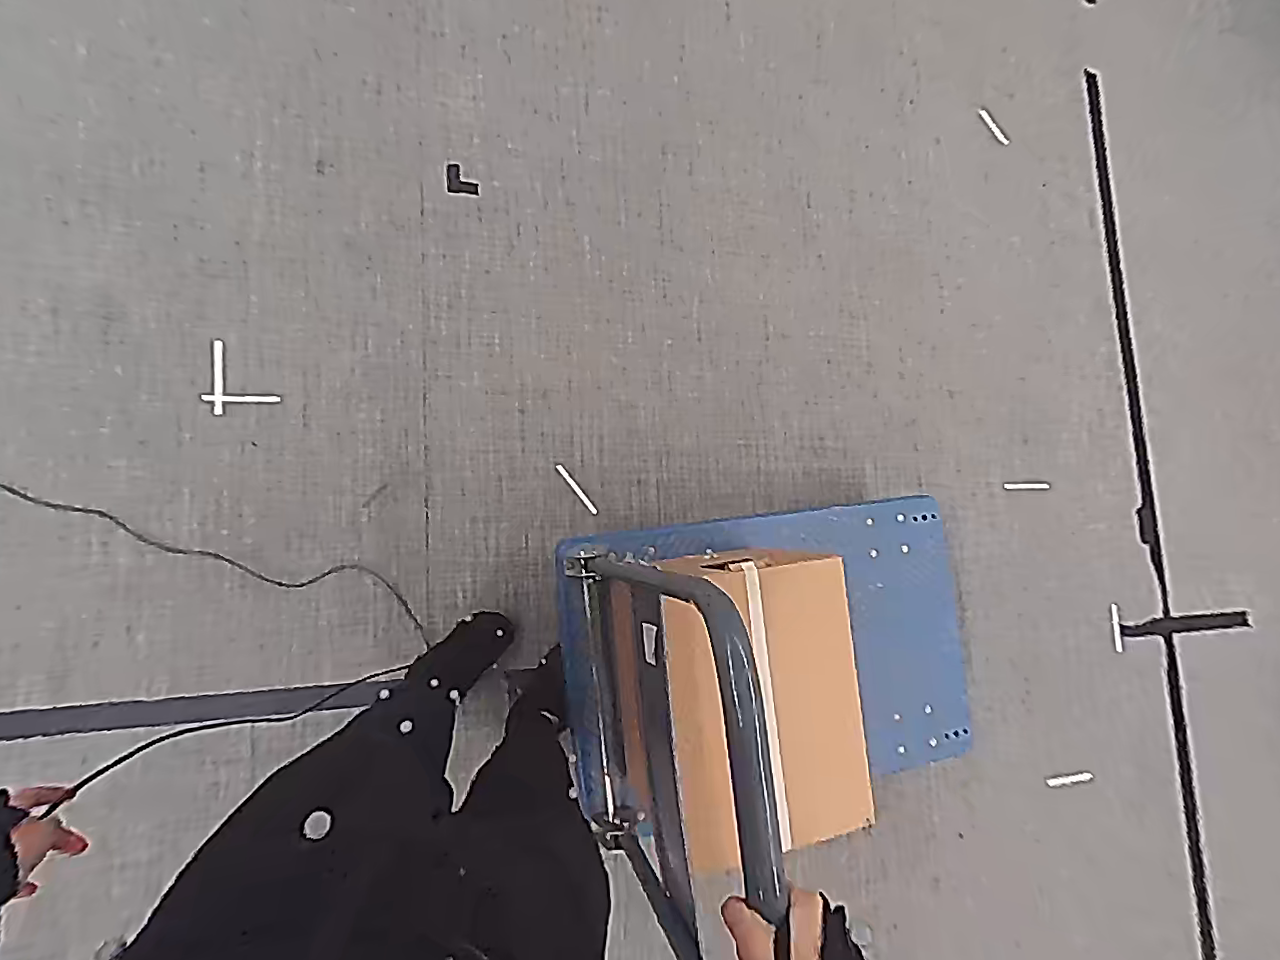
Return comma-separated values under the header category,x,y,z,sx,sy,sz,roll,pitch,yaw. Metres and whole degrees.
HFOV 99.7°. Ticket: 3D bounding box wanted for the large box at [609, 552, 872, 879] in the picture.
category,x,y,z,sx,sy,sz,roll,pitch,yaw
large box,0.144,0.348,0.931,0.320,0.320,0.408,-5,87,-14
